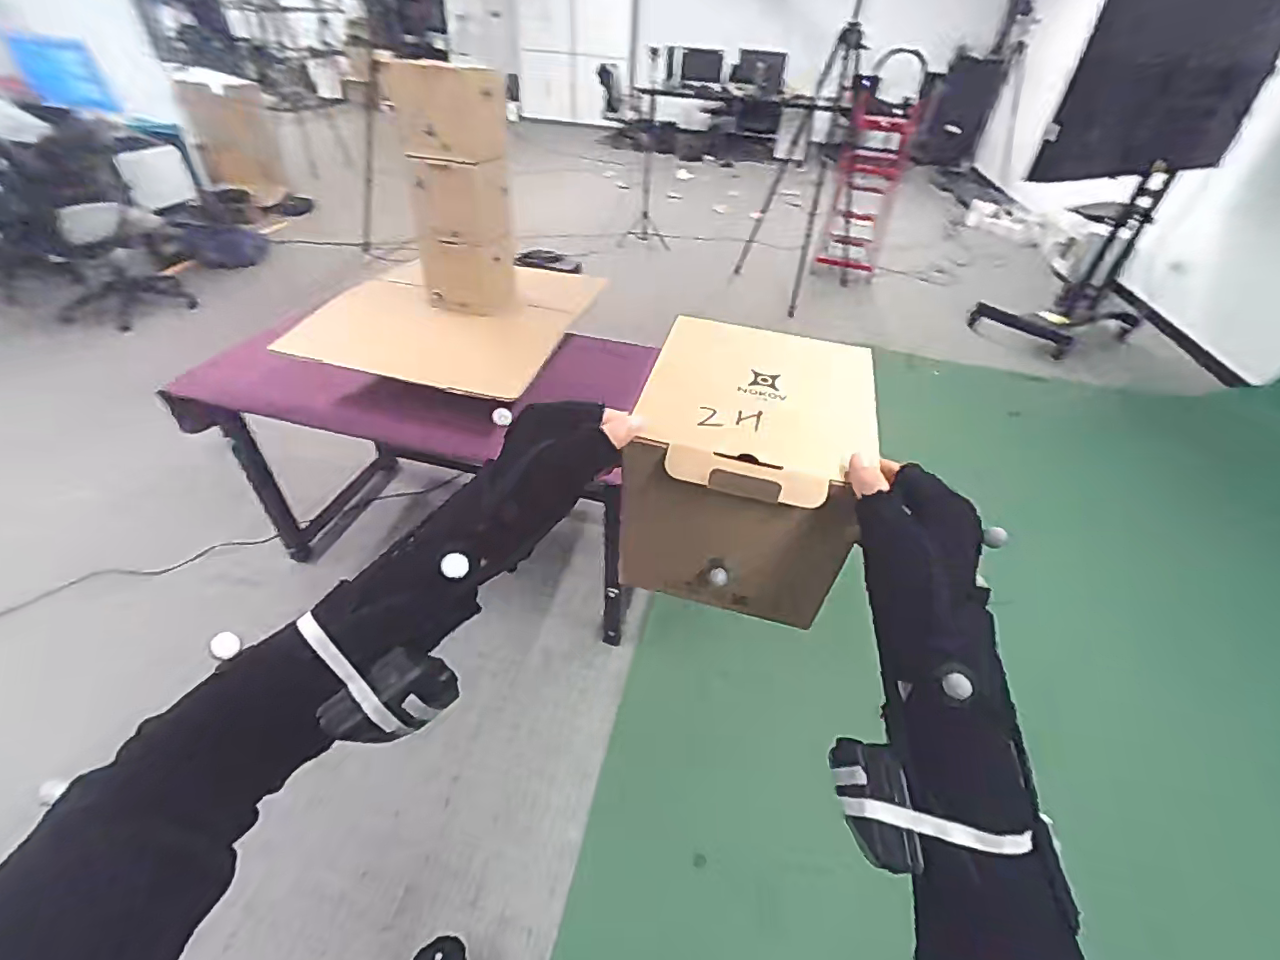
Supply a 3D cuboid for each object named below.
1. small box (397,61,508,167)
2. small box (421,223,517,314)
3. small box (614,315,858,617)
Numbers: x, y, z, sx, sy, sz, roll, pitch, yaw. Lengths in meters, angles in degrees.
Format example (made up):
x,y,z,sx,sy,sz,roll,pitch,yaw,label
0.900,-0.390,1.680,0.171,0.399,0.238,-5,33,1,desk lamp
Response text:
x,y,z,sx,sy,sz,roll,pitch,yaw,label
-0.400,-0.801,1.187,0.168,0.176,0.179,12,38,7,small box
-0.426,-0.541,1.383,0.168,0.176,0.179,13,38,9,small box
0.076,-0.014,0.467,0.168,0.176,0.179,13,45,8,small box
